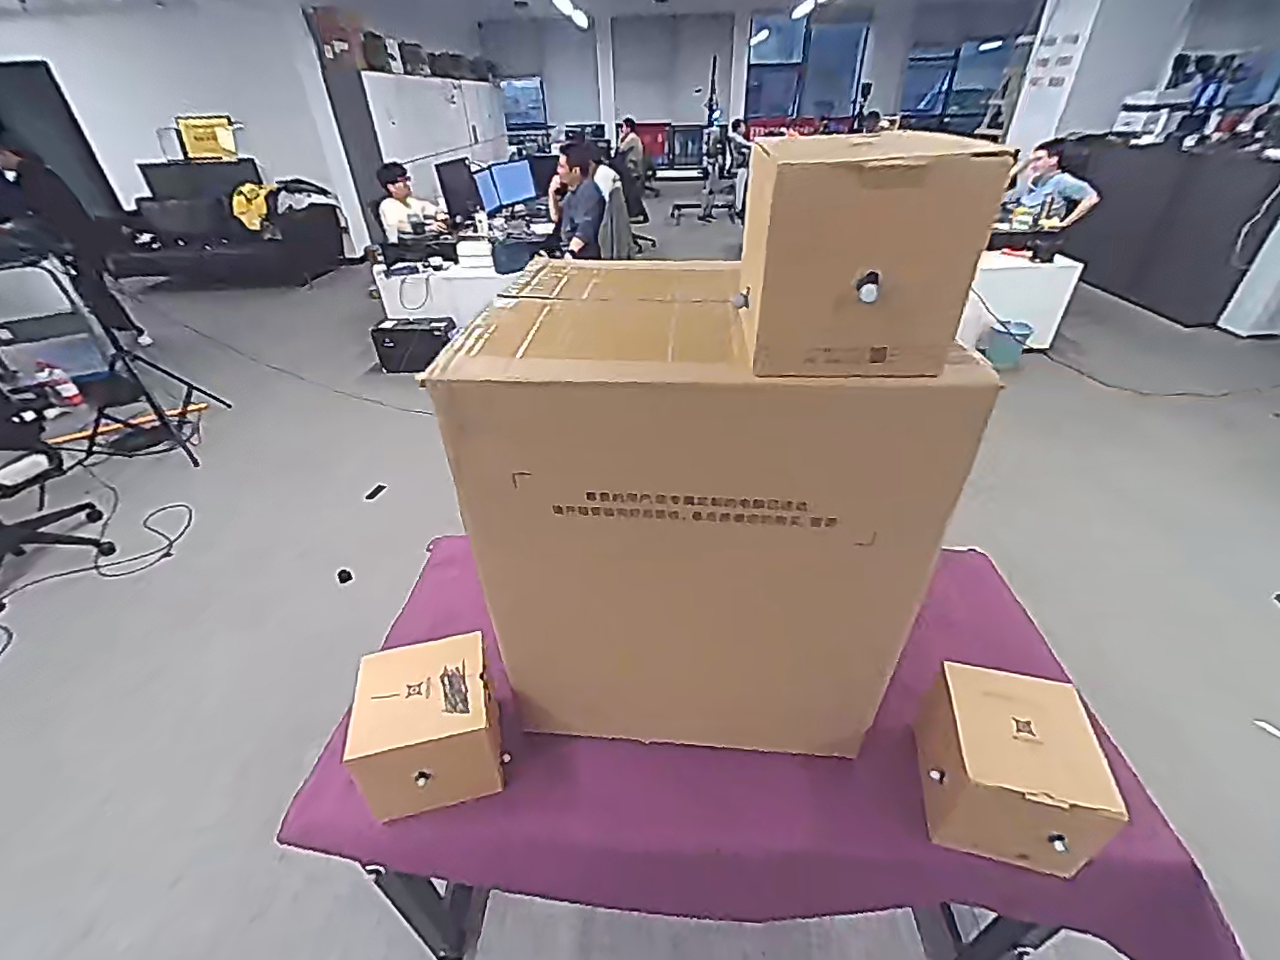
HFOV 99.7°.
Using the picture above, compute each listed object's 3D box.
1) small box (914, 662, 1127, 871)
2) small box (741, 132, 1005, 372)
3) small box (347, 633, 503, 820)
[{"bbox_3d":[0.487,0.382,0.727,0.168,0.176,0.179,8,34,13],"label":"small box"},{"bbox_3d":[0.186,-0.208,0.497,0.168,0.176,0.179,0,37,4],"label":"small box"},{"bbox_3d":[-0.299,0.358,0.793,0.179,0.176,0.168,-9,35,-12],"label":"small box"}]
